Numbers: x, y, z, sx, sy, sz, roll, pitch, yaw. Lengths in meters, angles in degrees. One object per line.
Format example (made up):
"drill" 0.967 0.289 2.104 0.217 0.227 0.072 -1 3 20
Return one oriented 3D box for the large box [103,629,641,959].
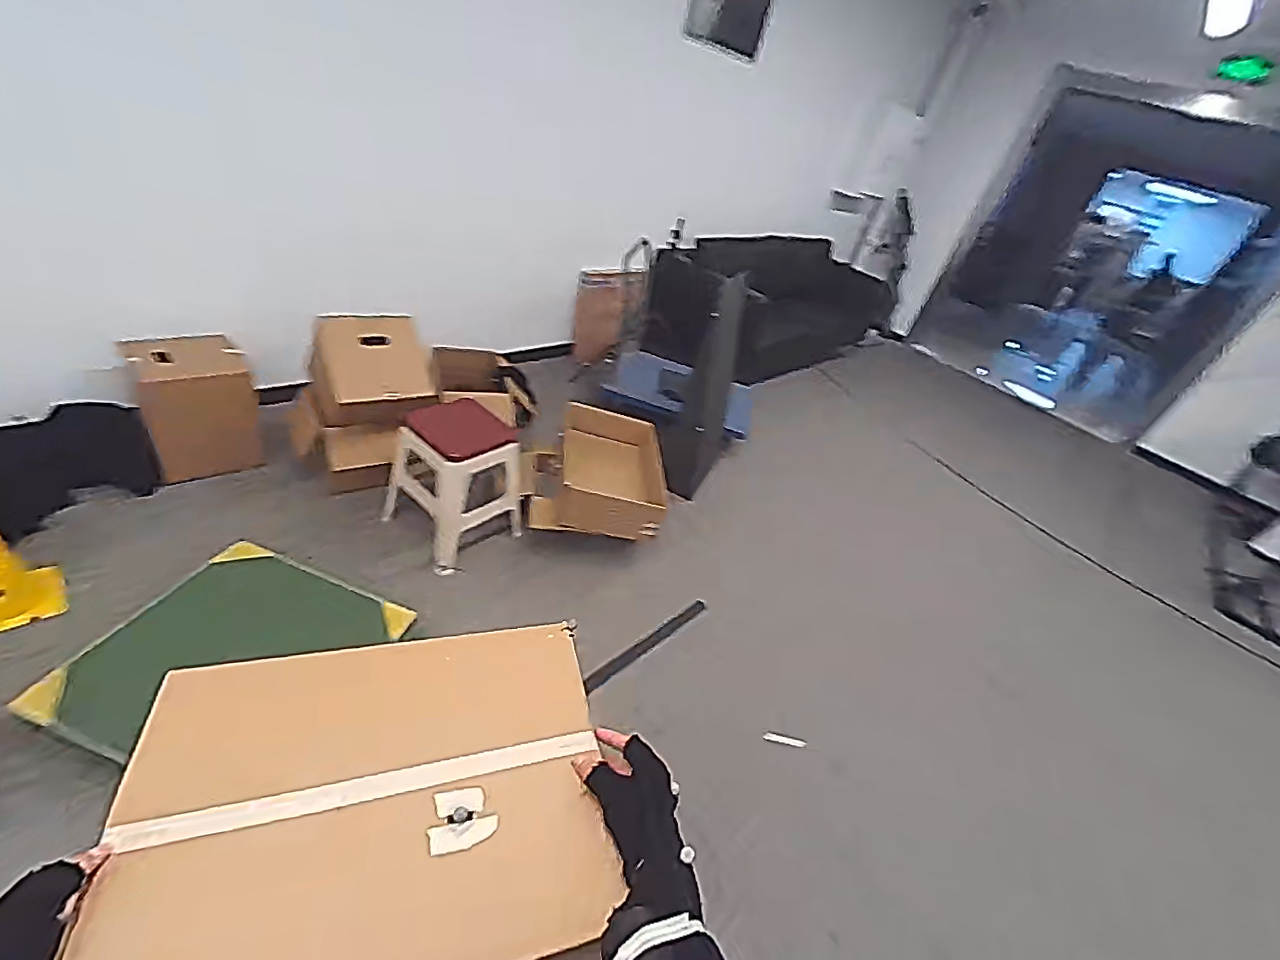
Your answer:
"large box" -0.255 0.407 0.604 0.408 0.320 0.320 -1 39 -20
